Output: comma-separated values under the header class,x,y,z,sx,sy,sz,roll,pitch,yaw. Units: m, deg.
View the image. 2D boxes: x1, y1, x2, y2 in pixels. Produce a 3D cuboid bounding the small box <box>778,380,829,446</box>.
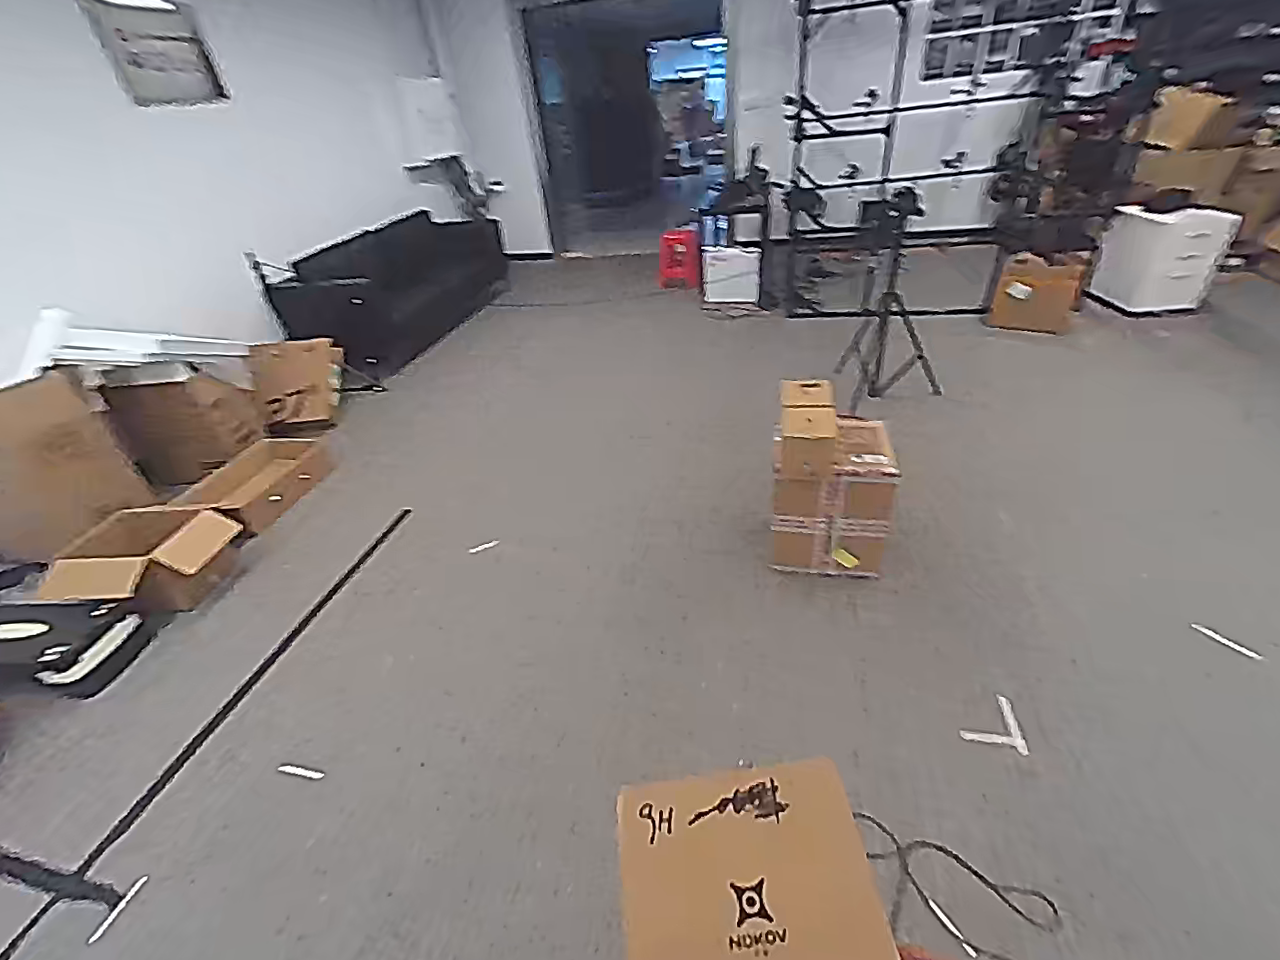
class,x,y,z,sx,sy,sz,roll,pitch,yaw
small box,0.577,-0.239,1.921,0.168,0.176,0.179,1,39,15
